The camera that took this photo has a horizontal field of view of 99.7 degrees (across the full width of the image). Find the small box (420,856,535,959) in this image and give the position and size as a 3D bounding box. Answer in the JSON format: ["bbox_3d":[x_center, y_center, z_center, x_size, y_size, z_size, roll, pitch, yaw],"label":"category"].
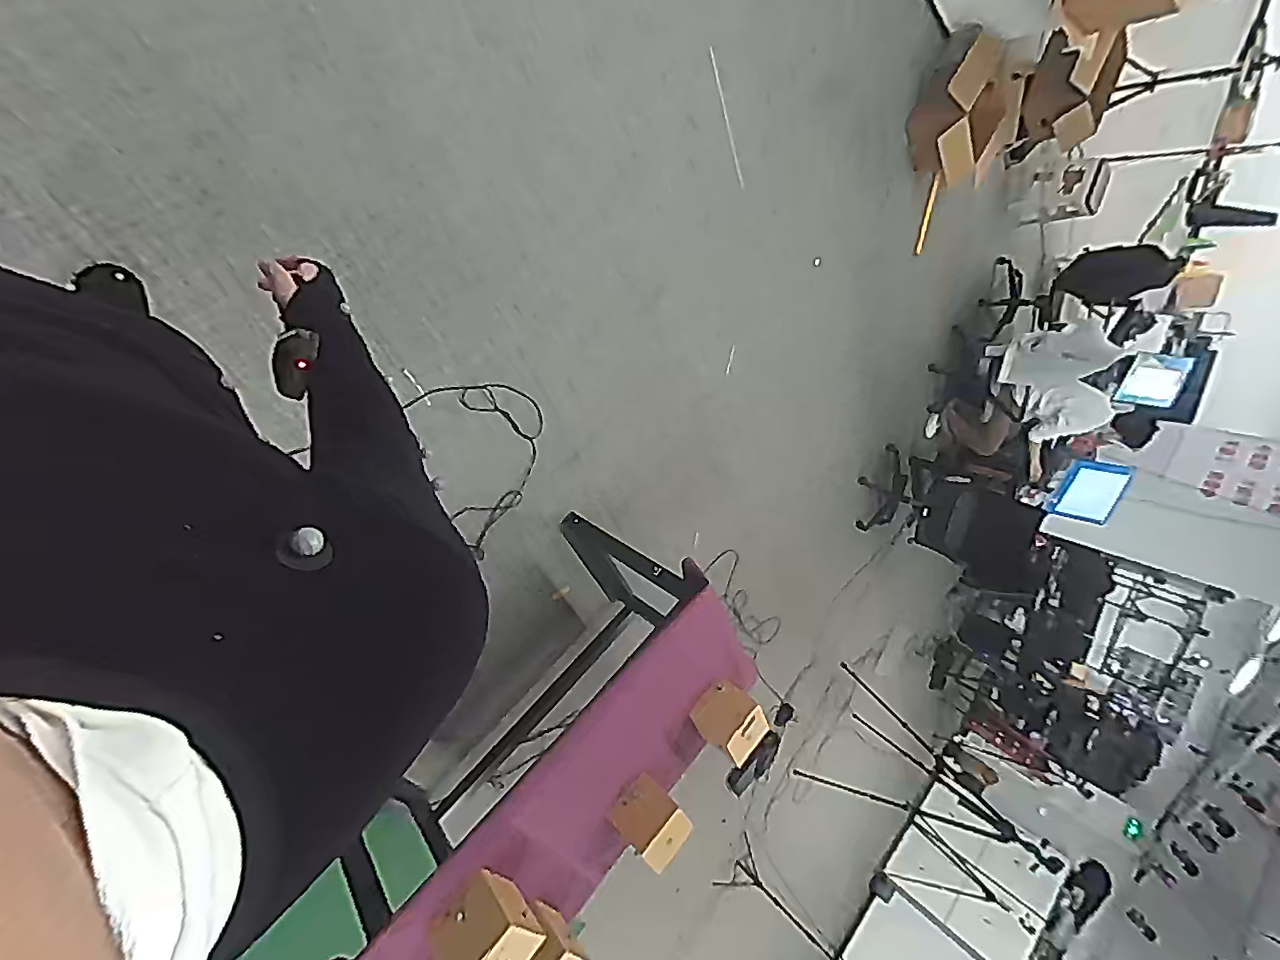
[{"bbox_3d":[-0.395,1.062,1.315,0.168,0.176,0.179,-45,134,-22],"label":"small box"}]

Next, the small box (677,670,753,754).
[{"bbox_3d":[0.248,0.765,1.803,0.168,0.176,0.179,-42,132,-21],"label":"small box"}]

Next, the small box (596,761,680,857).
[{"bbox_3d":[-0.008,1.013,1.676,0.168,0.176,0.179,-42,132,-23],"label":"small box"}]

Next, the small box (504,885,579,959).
[{"bbox_3d":[-0.307,1.282,1.508,0.168,0.176,0.179,-43,133,-22],"label":"small box"}]
